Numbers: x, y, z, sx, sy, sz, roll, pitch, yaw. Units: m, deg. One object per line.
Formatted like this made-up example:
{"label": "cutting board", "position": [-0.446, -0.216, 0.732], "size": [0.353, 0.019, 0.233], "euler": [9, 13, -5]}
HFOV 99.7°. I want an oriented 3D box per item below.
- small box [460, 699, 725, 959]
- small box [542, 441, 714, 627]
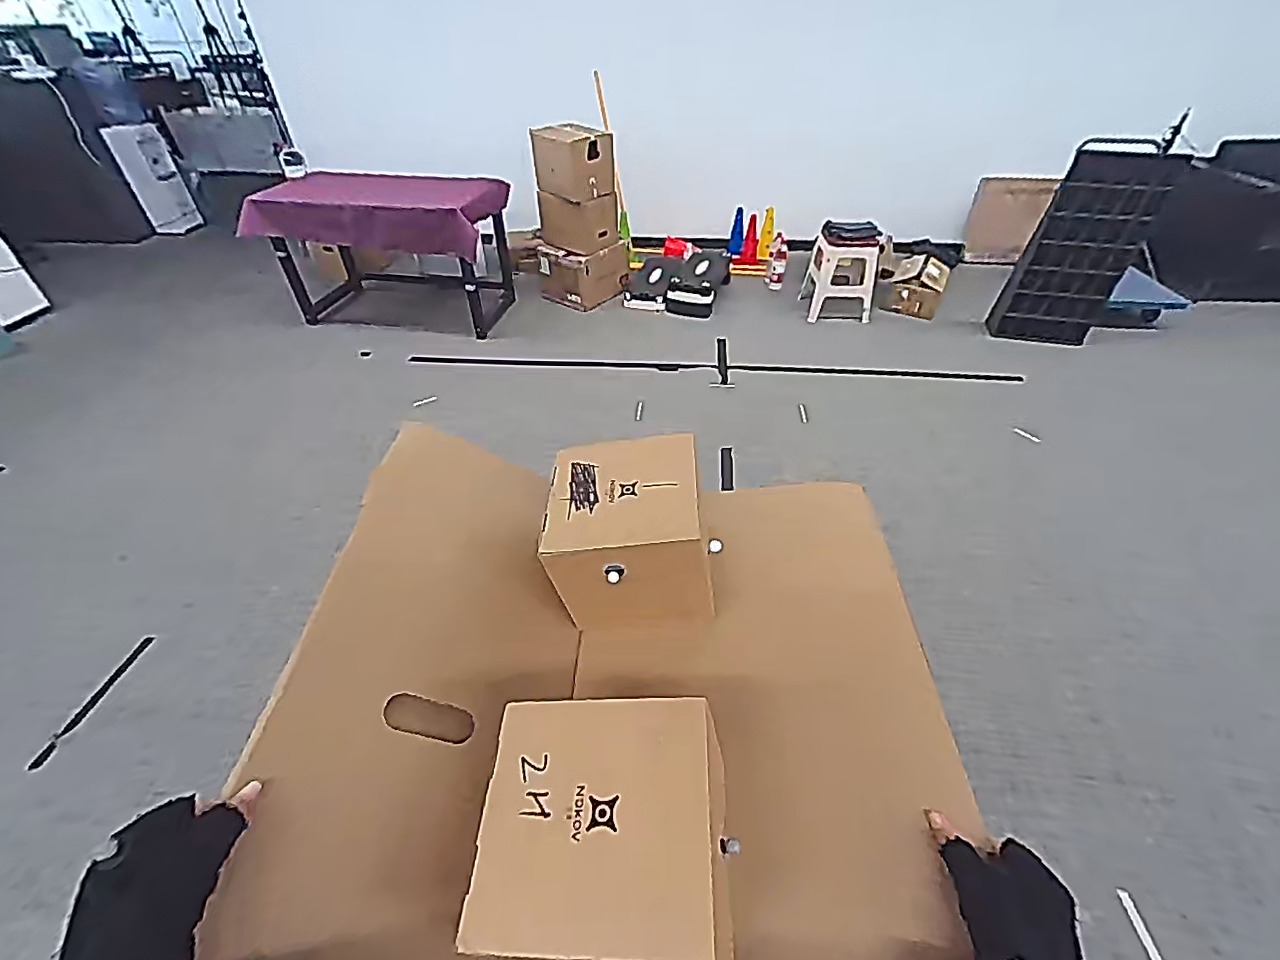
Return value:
{"label": "small box", "position": [-0.019, 0.303, 0.465], "size": [0.179, 0.176, 0.168], "euler": [-5, 45, 11]}
{"label": "small box", "position": [-0.005, 0.074, 0.686], "size": [0.179, 0.176, 0.168], "euler": [-6, 46, 9]}
